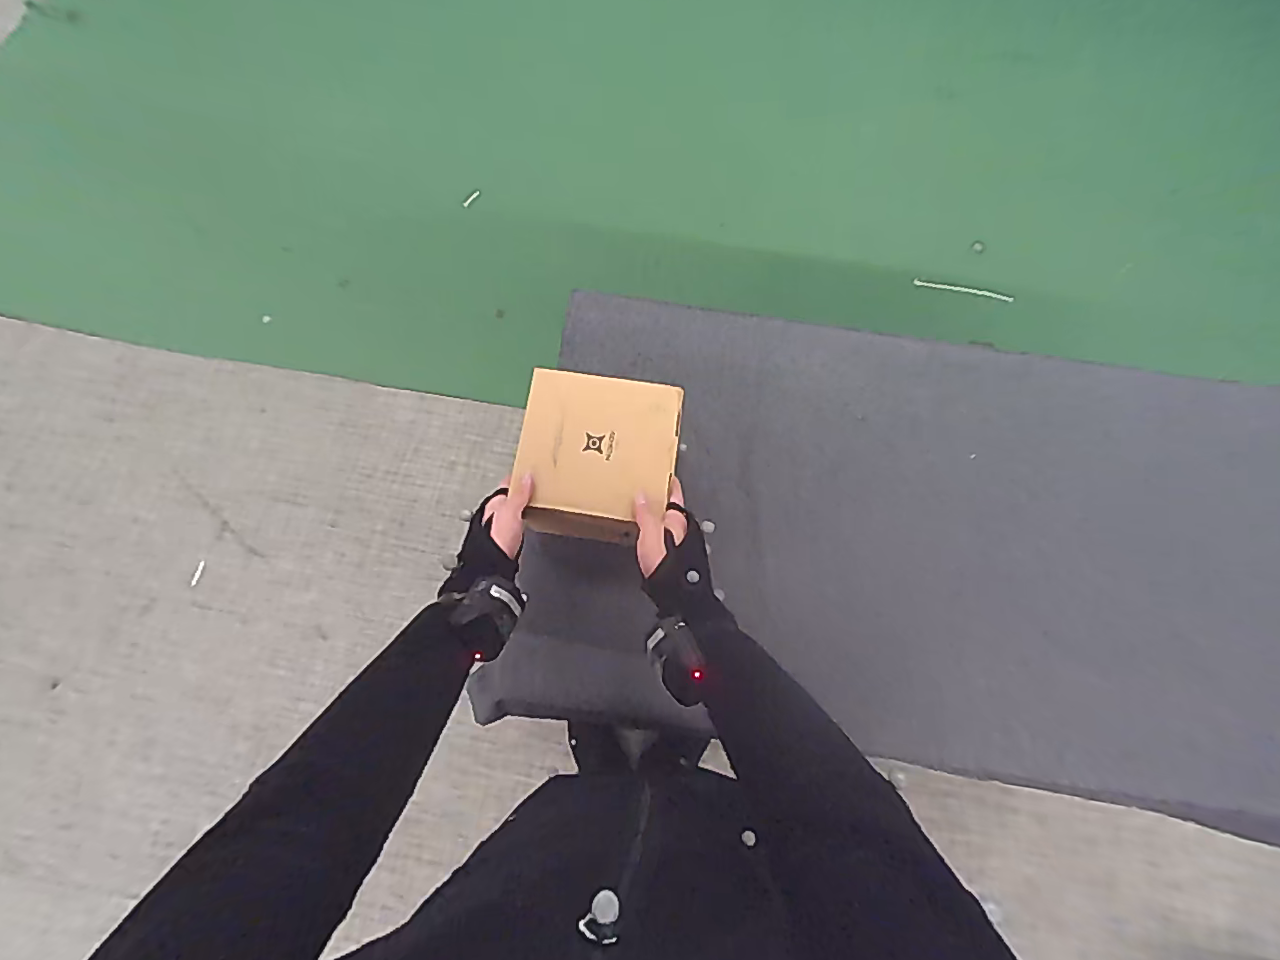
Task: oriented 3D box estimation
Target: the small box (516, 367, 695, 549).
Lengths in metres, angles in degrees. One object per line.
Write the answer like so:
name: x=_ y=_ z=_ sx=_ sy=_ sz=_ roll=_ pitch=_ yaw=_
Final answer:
small box: x=-0.036 y=-0.016 z=0.664 sx=0.179 sy=0.176 sz=0.168 roll=8 pitch=72 yaw=1
